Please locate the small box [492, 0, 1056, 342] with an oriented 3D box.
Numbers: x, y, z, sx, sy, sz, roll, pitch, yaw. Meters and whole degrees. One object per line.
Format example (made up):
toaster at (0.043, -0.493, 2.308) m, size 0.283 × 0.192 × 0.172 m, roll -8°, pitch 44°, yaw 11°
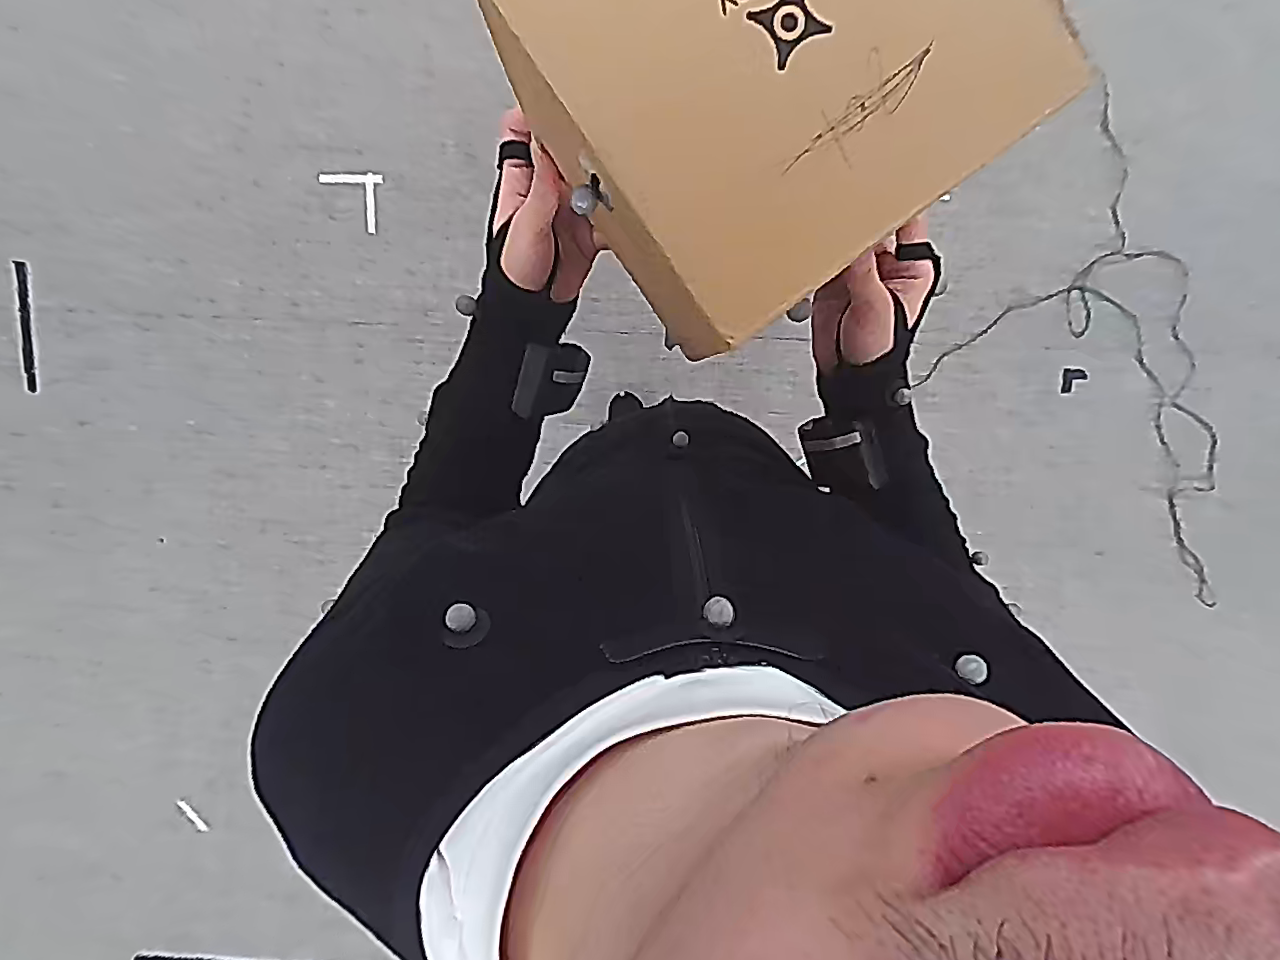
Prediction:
small box at (0.048, -0.191, 0.286) m, size 0.168 × 0.176 × 0.179 m, roll -36°, pitch 99°, yaw 6°
